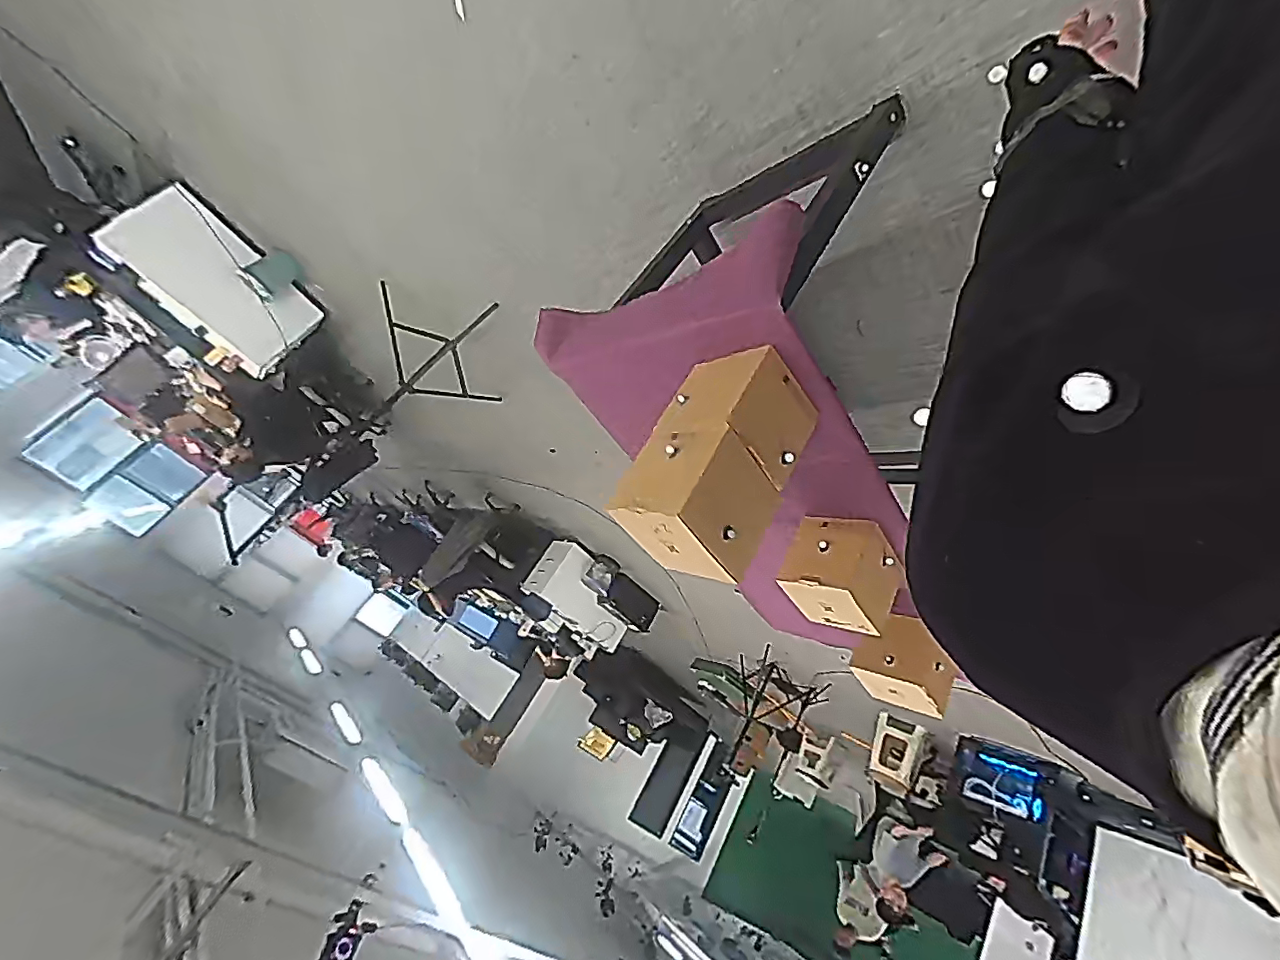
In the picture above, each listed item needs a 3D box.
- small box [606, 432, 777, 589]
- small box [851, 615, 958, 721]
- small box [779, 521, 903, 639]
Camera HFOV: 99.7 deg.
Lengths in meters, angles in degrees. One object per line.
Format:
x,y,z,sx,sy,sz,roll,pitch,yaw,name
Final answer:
0.088,0.043,0.850,0.168,0.176,0.179,2,142,49,small box
0.653,0.449,1.320,0.179,0.176,0.168,1,139,51,small box
0.426,0.202,1.137,0.168,0.176,0.179,0,139,49,small box
